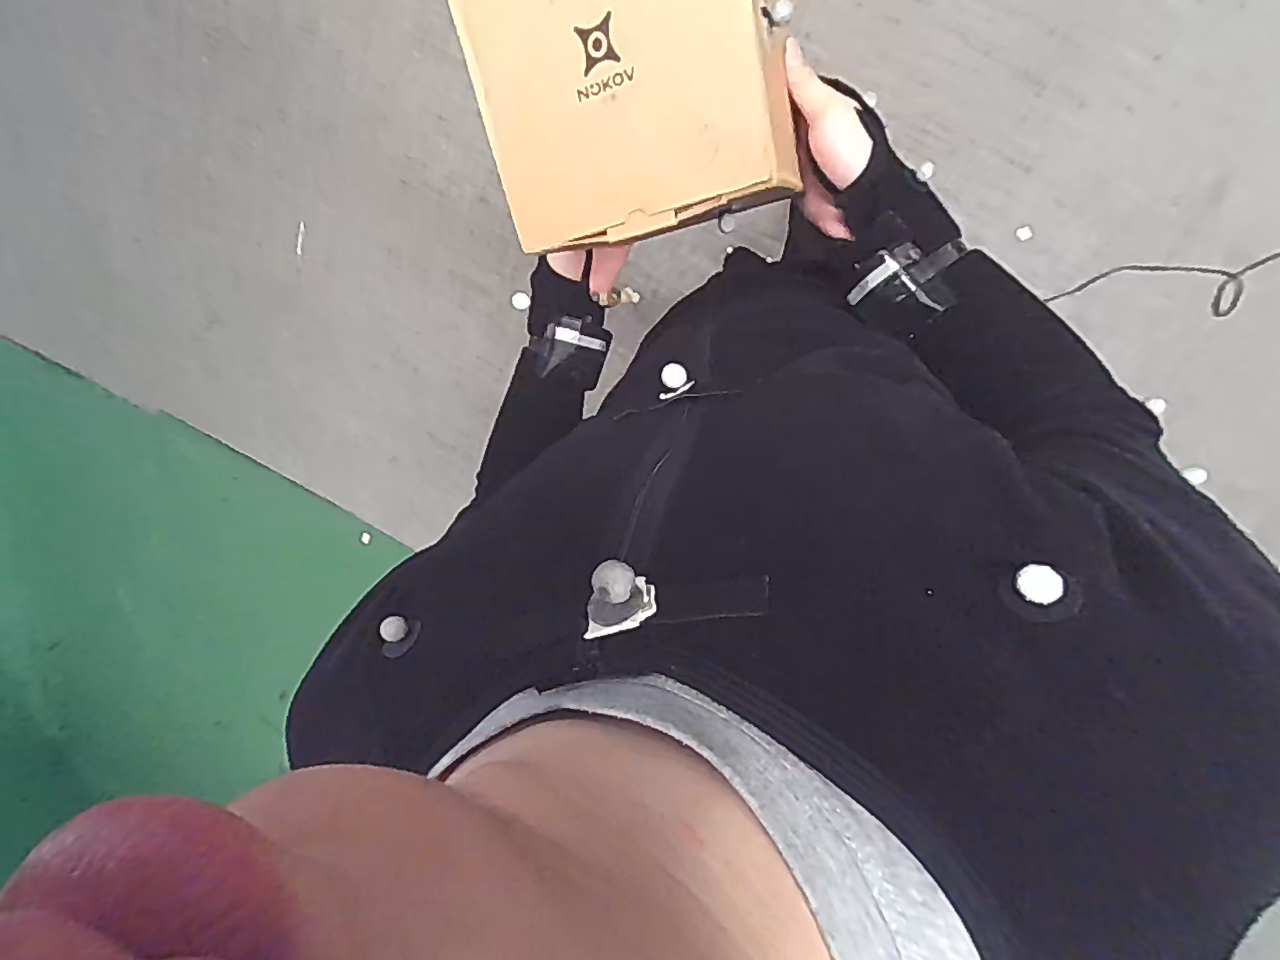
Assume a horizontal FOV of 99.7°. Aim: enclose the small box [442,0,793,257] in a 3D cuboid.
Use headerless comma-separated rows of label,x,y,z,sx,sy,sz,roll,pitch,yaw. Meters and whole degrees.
small box,0.002,-0.264,0.362,0.168,0.176,0.179,-5,112,24
